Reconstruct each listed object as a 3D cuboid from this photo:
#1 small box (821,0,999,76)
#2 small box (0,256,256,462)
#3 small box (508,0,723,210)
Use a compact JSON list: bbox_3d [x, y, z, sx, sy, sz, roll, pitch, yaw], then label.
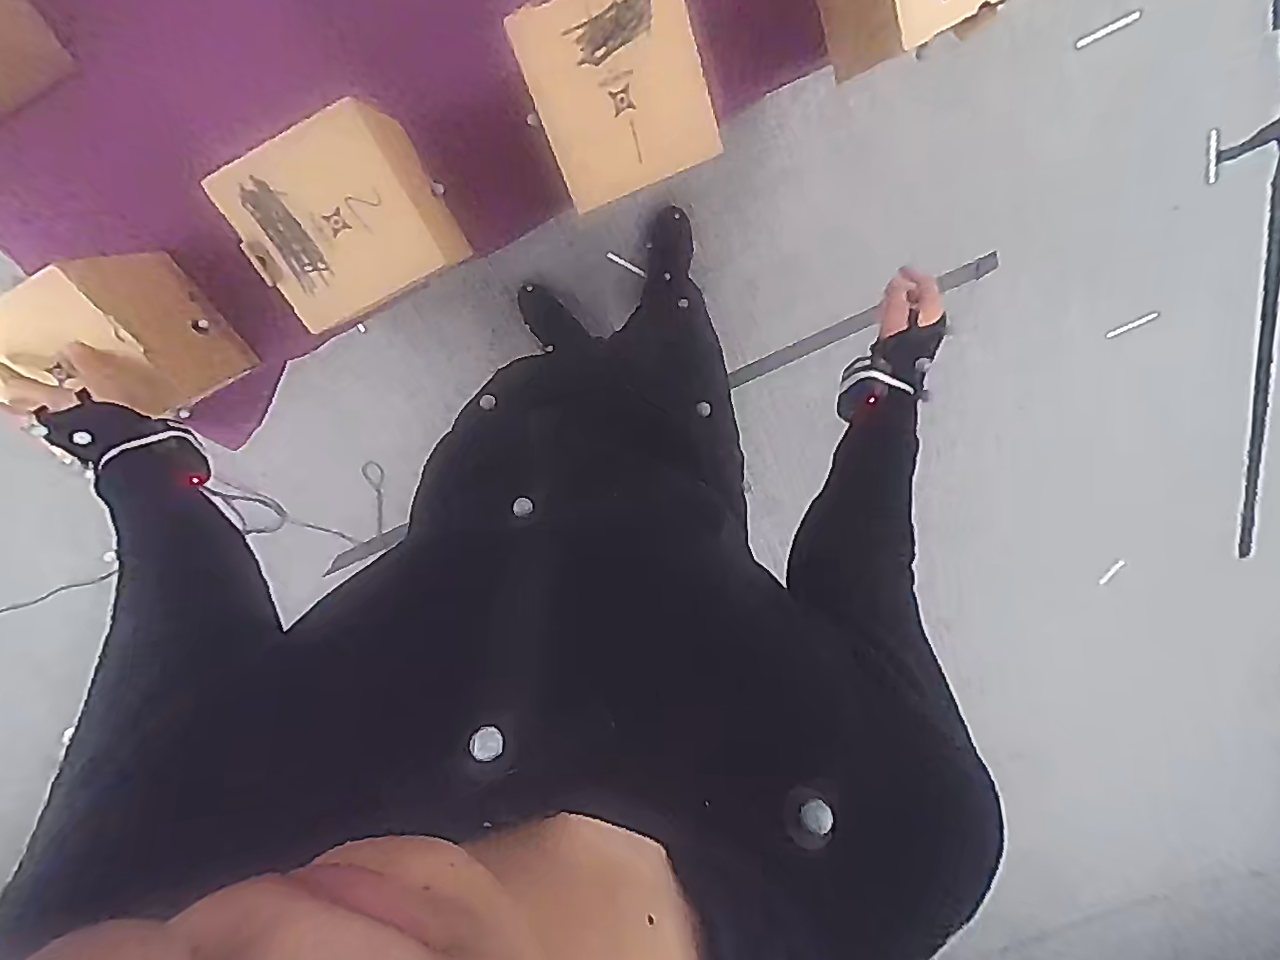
[{"bbox_3d":[0.290,-0.562,0.554,0.168,0.176,0.179,-24,117,8],"label":"small box"},{"bbox_3d":[-0.633,-0.154,0.664,0.179,0.176,0.168,-27,116,6],"label":"small box"},{"bbox_3d":[-0.026,-0.417,0.596,0.168,0.176,0.179,-21,118,5],"label":"small box"}]
